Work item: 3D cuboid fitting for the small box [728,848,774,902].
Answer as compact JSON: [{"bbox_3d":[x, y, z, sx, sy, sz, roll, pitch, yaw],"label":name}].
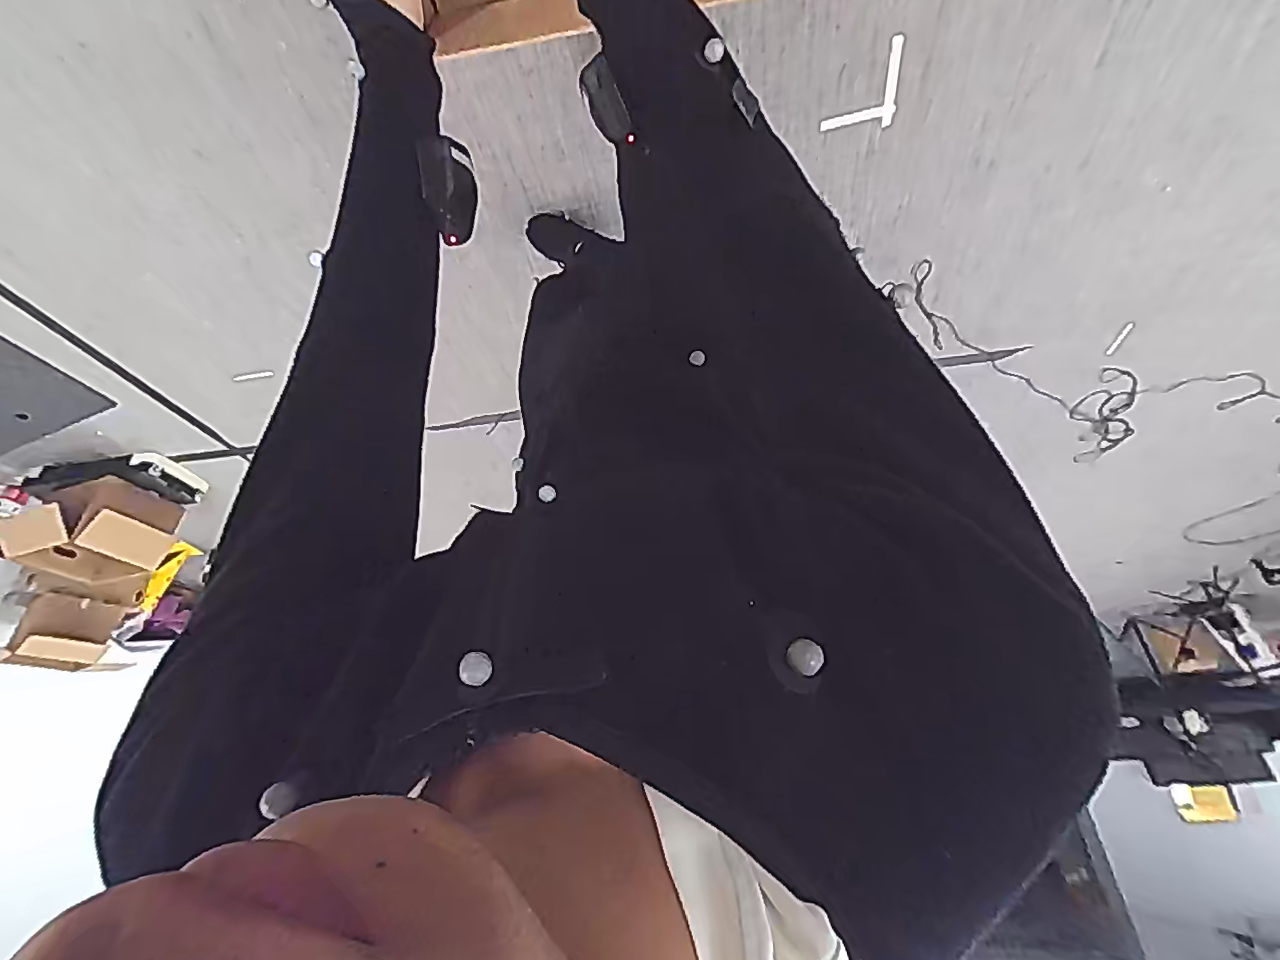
[{"bbox_3d":[0.460,1.637,2.247,0.168,0.176,0.179,-6,149,7],"label":"small box"}]
